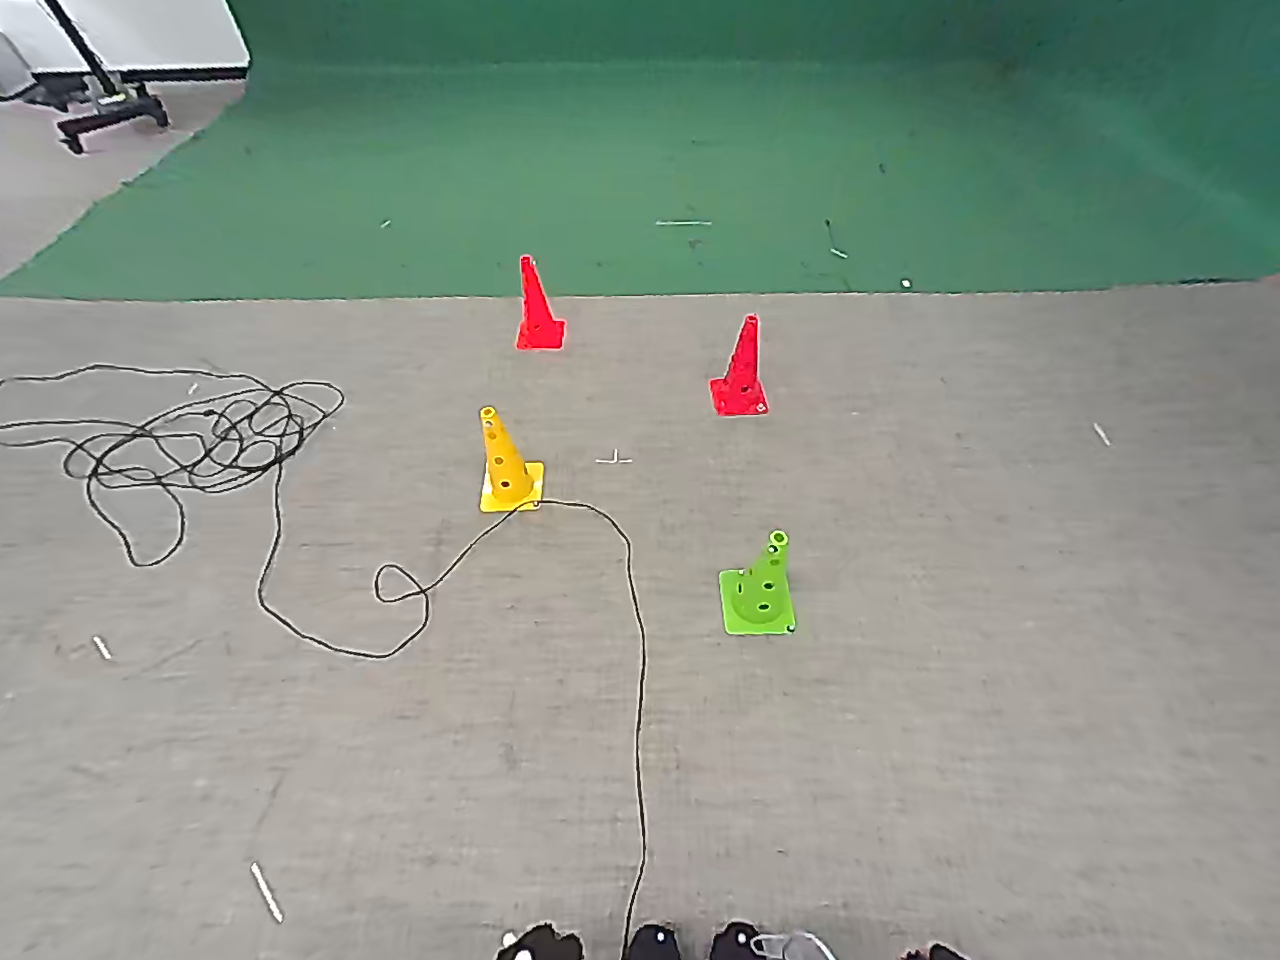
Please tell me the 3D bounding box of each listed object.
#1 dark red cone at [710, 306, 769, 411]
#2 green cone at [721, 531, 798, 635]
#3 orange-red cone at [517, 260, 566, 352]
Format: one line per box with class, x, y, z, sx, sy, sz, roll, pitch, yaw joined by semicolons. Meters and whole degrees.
dark red cone;0.371;-0.439;1.929;0.202;0.394;0.201;-5;51;-2
green cone;0.334;0.244;1.428;0.202;0.368;0.200;-3;52;1
orange-red cone;-0.432;-0.721;2.201;0.198;0.360;0.199;-1;53;2
